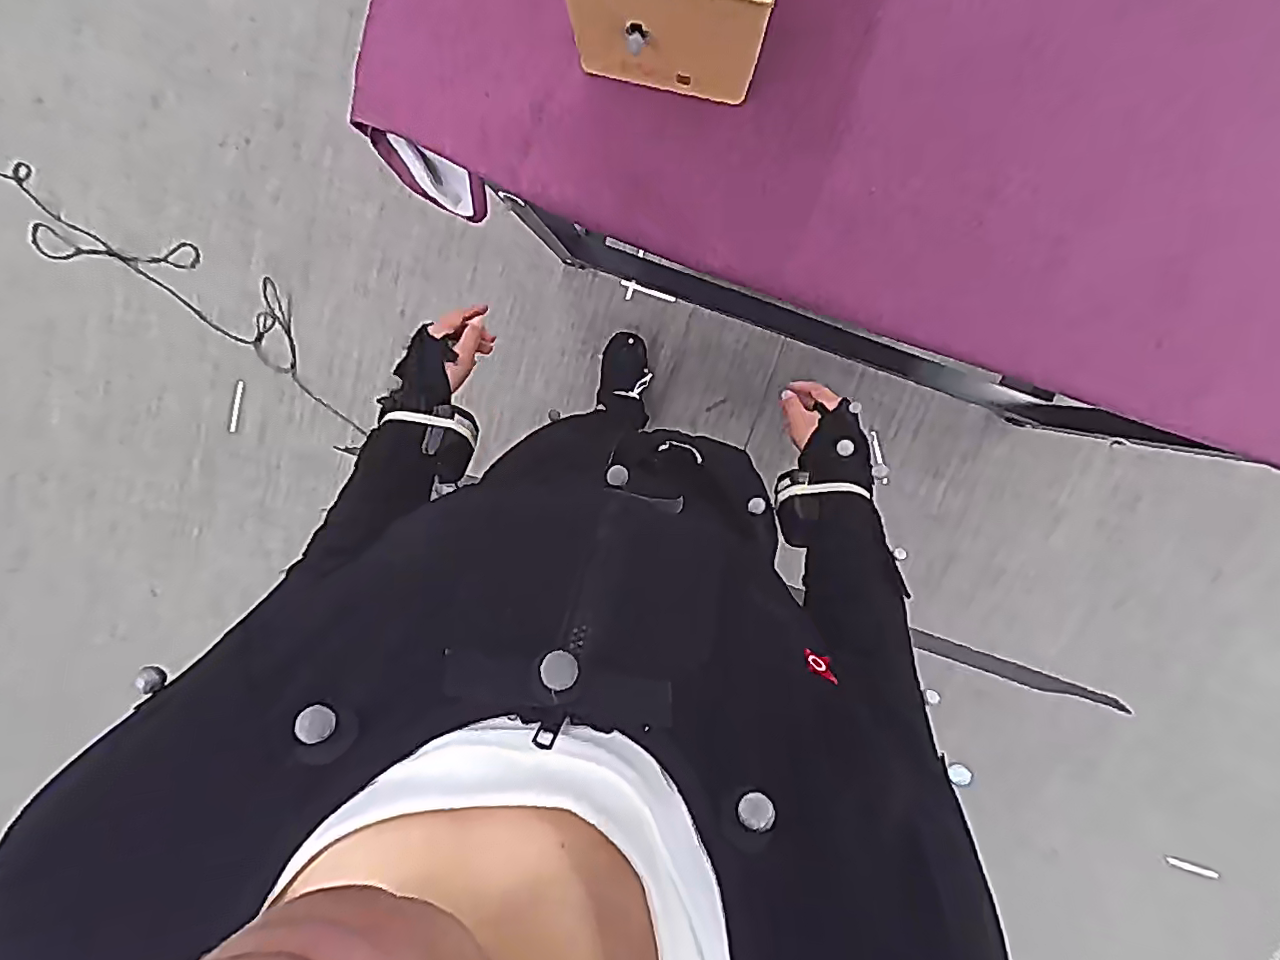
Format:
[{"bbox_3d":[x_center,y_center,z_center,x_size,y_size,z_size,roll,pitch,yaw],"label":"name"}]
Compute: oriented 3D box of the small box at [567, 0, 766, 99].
[{"bbox_3d":[0.035,-0.463,0.454,0.168,0.176,0.179,12,102,0],"label":"small box"}]
